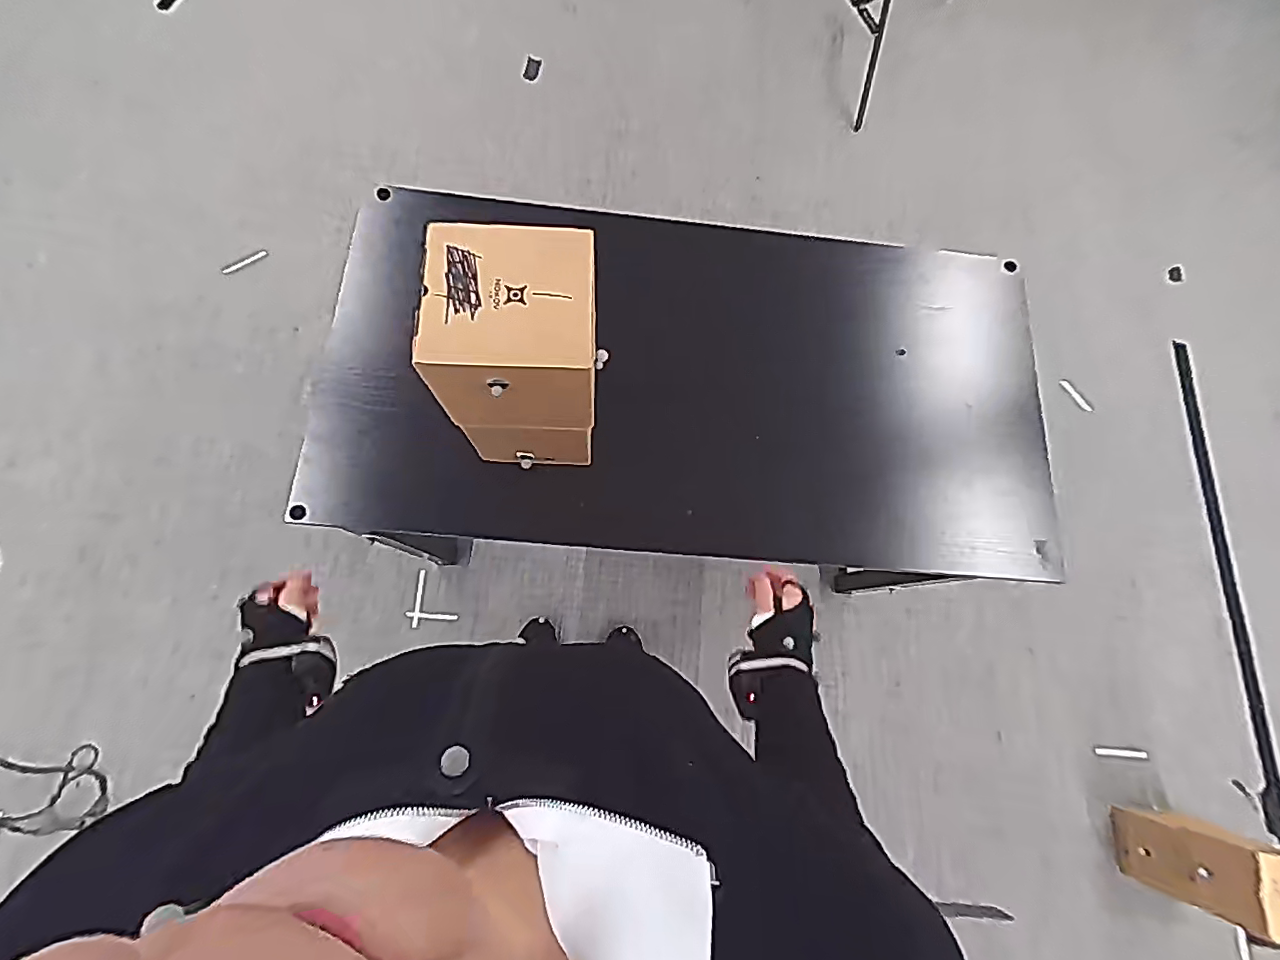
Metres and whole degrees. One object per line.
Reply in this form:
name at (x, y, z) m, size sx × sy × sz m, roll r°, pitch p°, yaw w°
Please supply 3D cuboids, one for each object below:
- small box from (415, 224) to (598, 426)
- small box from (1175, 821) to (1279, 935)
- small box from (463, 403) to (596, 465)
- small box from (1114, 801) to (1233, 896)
small box at (-0.139, -0.168, 0.631) m, size 0.179 × 0.176 × 0.168 m, roll 1°, pitch 75°, yaw -5°
small box at (1.391, 0.905, 1.233) m, size 0.179 × 0.176 × 0.168 m, roll 10°, pitch 74°, yaw -2°
small box at (-0.151, -0.130, 0.791) m, size 0.168 × 0.176 × 0.179 m, roll 1°, pitch 76°, yaw -4°
small box at (1.374, 0.945, 1.393) m, size 0.179 × 0.176 × 0.168 m, roll 4°, pitch 75°, yaw -3°
